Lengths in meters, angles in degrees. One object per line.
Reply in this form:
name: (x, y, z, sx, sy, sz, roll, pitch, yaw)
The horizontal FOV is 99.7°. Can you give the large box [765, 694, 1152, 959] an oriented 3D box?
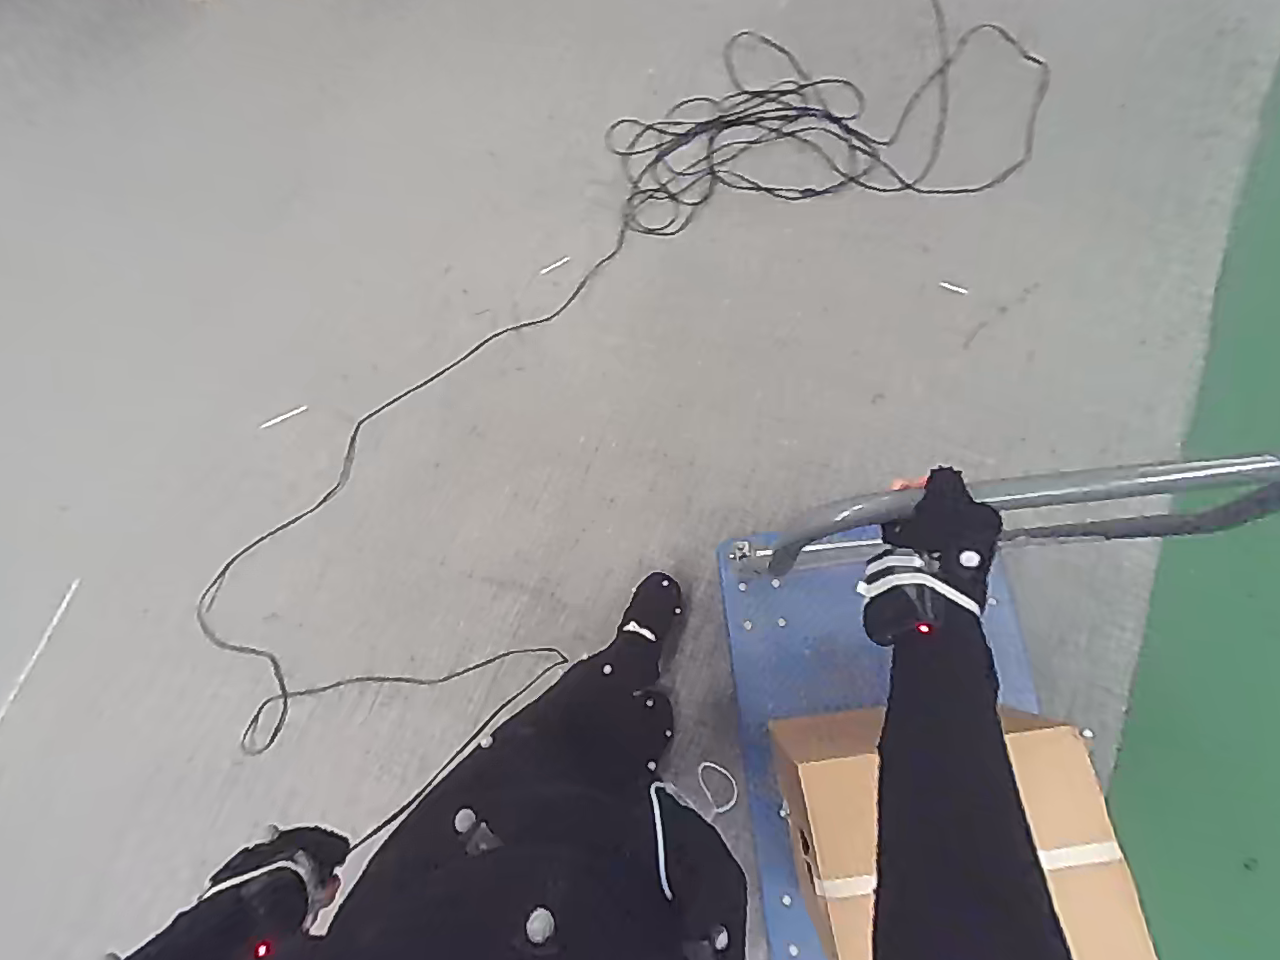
large box: (0.455, 0.559, 0.884, 0.408, 0.320, 0.320, -10, 77, 2)
